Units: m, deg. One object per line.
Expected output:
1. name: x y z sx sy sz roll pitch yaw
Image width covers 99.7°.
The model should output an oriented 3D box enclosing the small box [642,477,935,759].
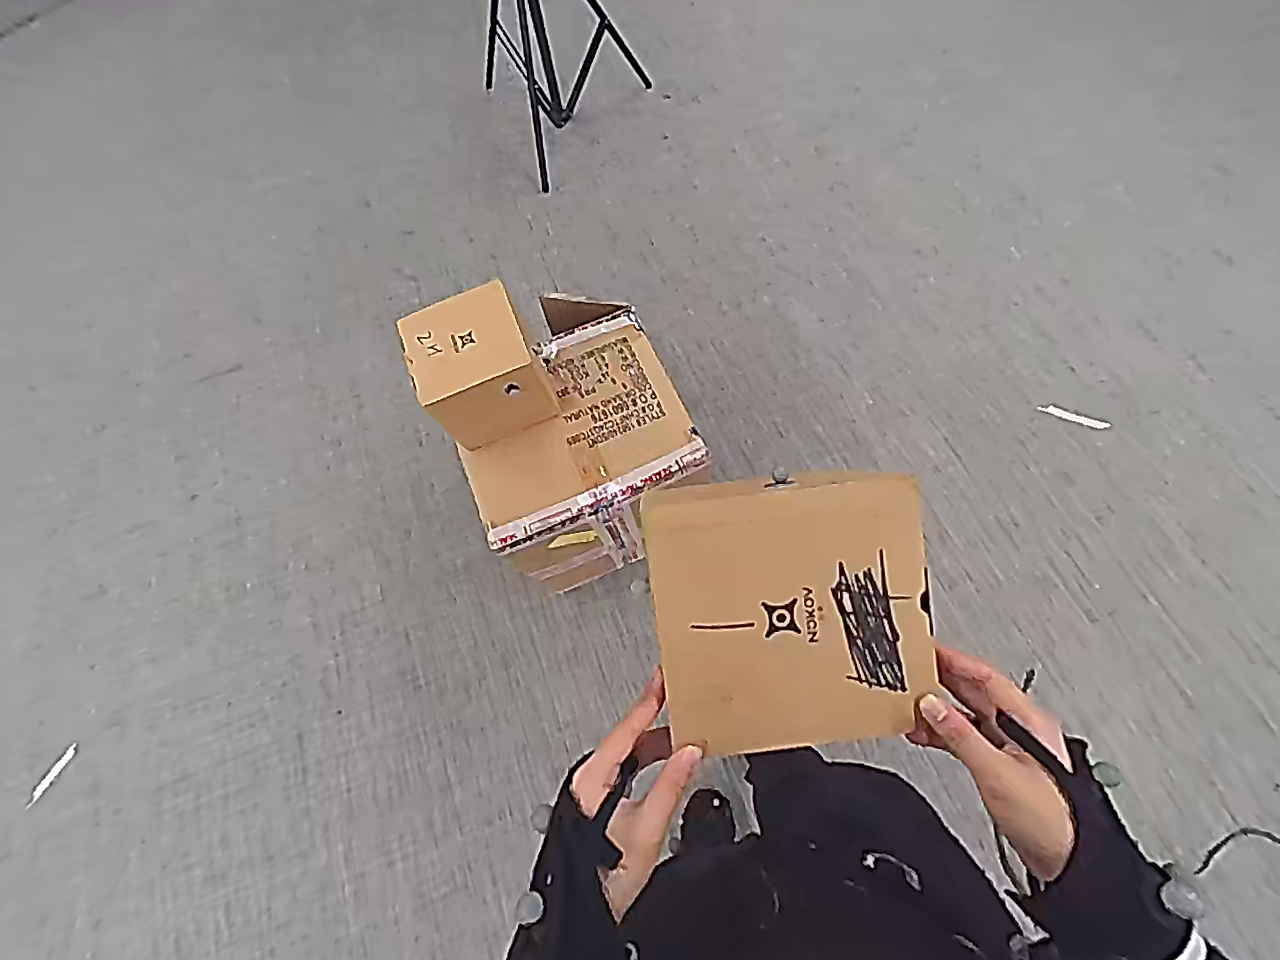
1. small box: 0.096 0.089 0.429 0.179 0.176 0.168 -8 91 1

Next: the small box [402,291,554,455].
1. small box: -0.252 -0.166 0.884 0.179 0.176 0.168 -23 69 -1
